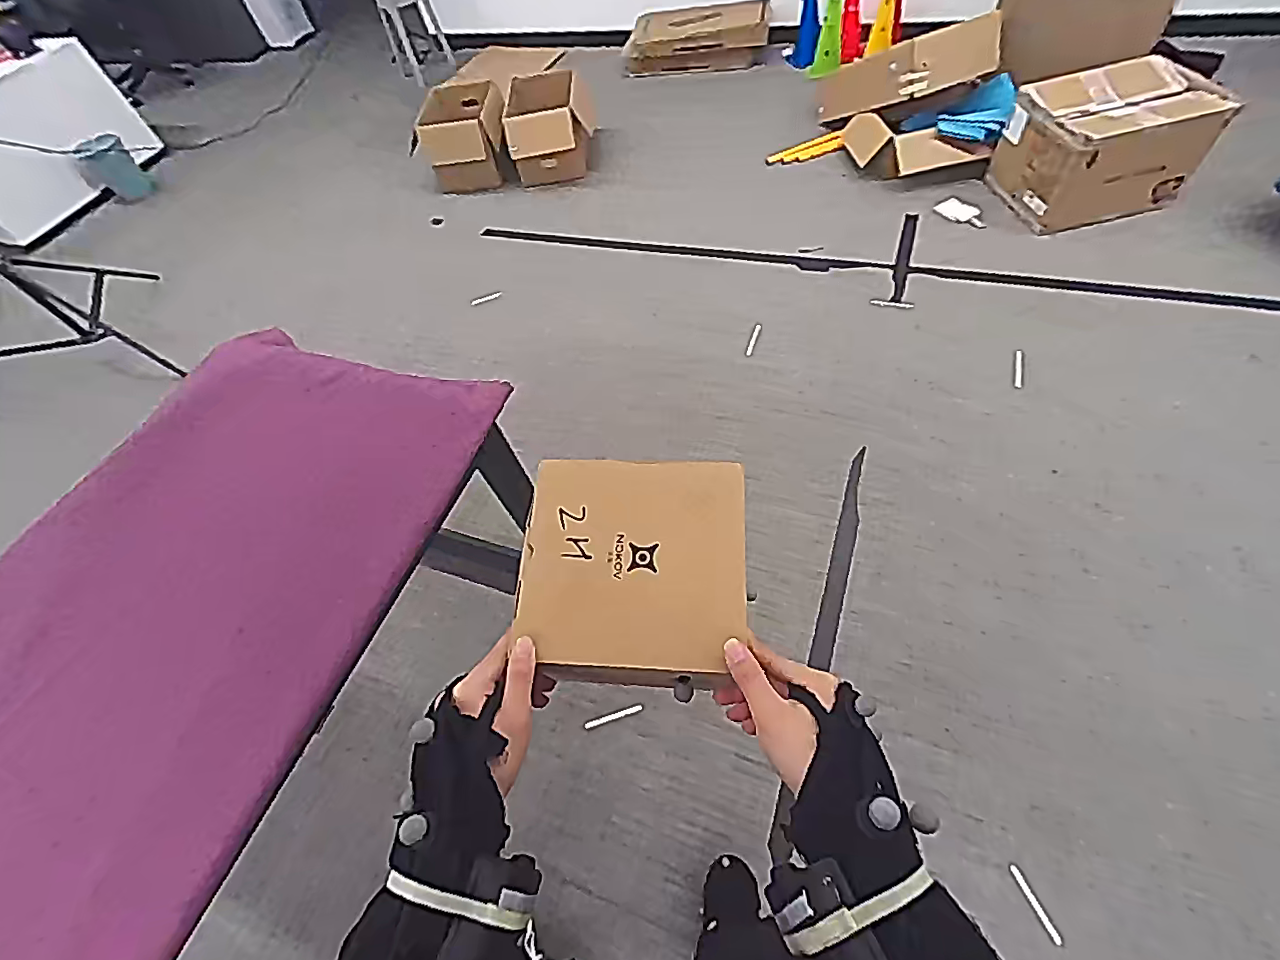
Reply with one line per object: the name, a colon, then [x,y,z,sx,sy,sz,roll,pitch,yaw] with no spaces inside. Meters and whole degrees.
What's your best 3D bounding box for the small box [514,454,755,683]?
small box: [0.006,0.088,0.492,0.179,0.176,0.168,1,65,7]
